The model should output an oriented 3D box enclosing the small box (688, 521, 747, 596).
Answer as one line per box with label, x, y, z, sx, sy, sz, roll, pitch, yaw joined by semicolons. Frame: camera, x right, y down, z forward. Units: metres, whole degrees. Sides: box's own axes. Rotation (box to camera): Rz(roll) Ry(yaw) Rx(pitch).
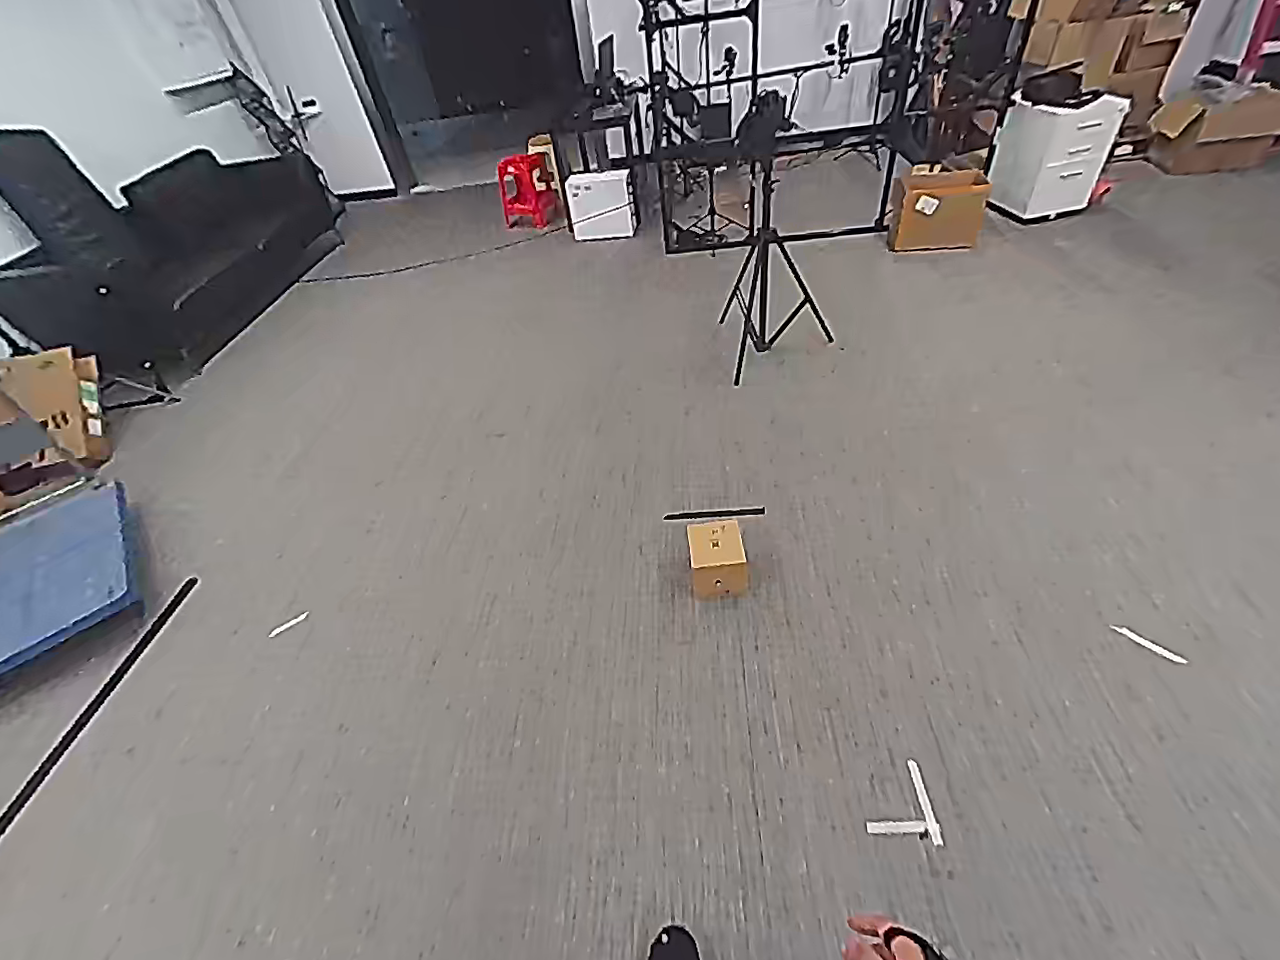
small box;0.247;0.257;1.721;0.168;0.176;0.179;-6;43;4
